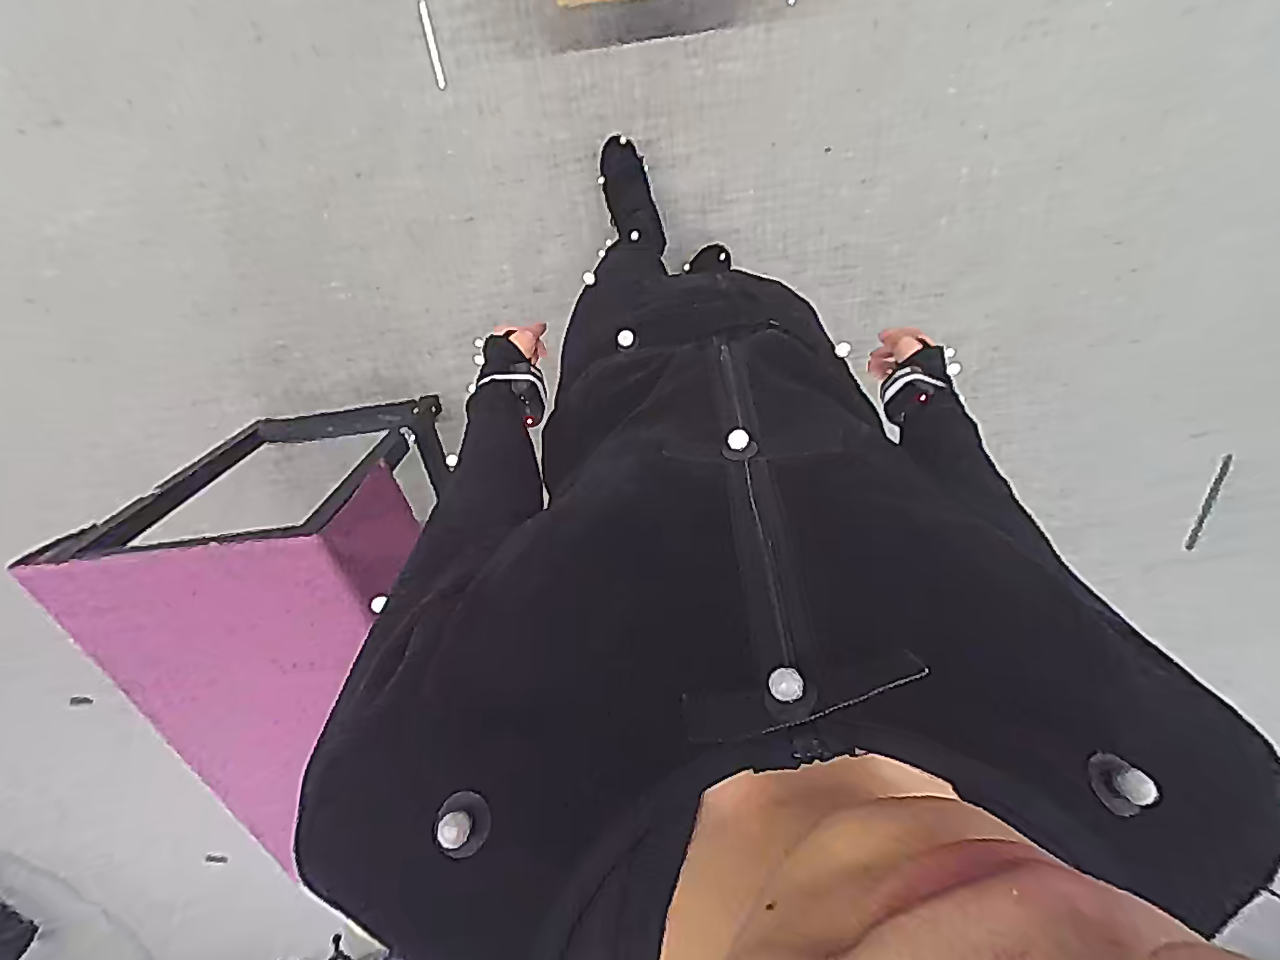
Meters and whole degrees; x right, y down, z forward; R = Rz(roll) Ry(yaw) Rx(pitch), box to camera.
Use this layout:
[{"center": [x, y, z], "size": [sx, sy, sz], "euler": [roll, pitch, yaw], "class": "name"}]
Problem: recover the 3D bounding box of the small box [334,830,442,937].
[{"center": [-0.651, 1.055, 1.420], "size": [0.179, 0.176, 0.168], "euler": [-10, 120, 5], "class": "small box"}]
